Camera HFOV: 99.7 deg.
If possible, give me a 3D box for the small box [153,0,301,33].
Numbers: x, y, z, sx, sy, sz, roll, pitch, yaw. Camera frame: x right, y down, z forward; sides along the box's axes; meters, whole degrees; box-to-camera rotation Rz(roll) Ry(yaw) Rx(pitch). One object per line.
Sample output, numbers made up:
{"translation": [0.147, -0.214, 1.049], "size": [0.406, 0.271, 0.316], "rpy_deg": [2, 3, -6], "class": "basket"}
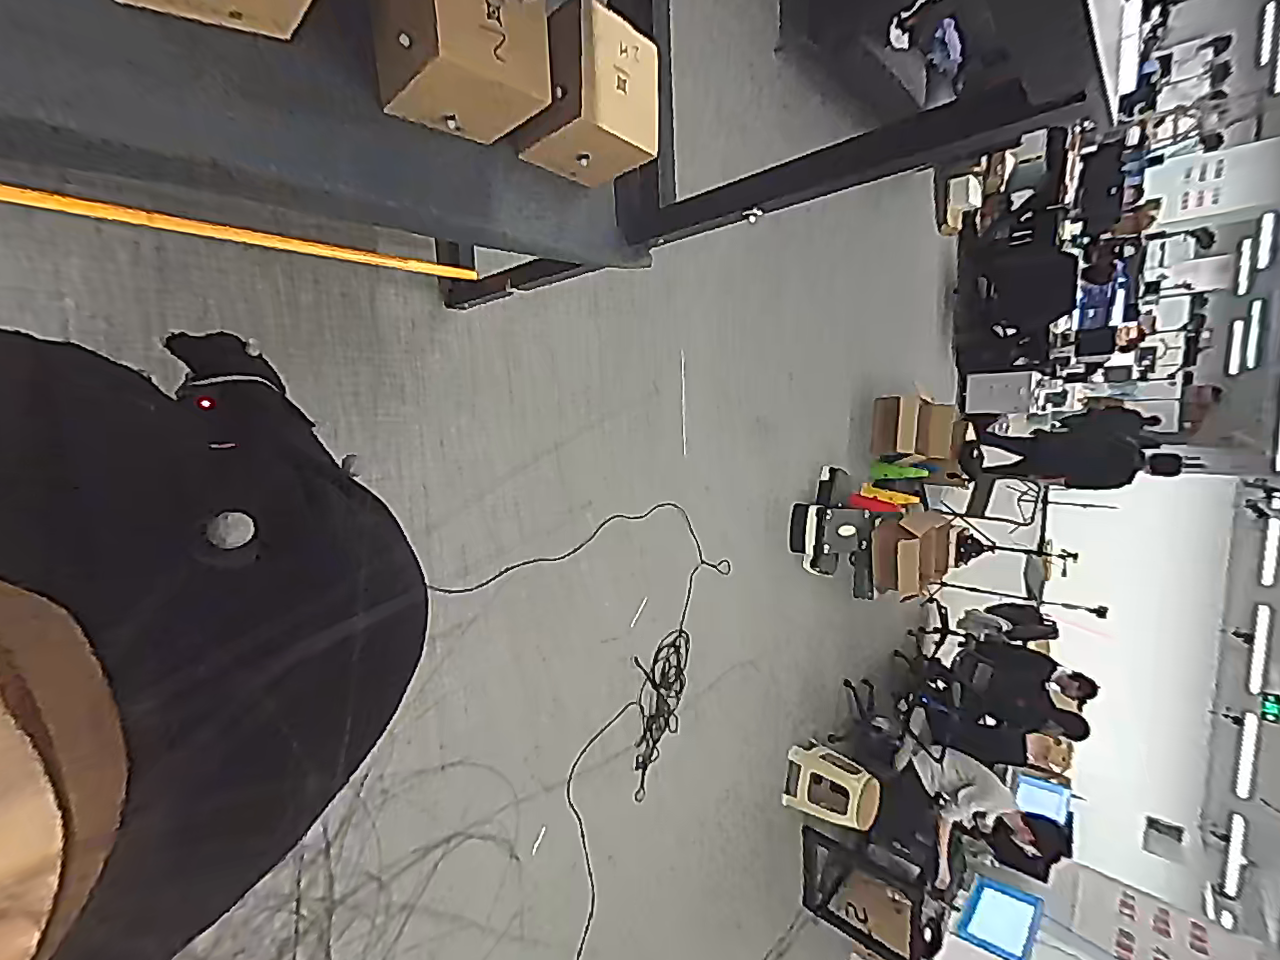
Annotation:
{"translation": [-0.436, -0.585, 0.523], "size": [0.168, 0.176, 0.179], "rpy_deg": [-24, 111, -43], "class": "small box"}
